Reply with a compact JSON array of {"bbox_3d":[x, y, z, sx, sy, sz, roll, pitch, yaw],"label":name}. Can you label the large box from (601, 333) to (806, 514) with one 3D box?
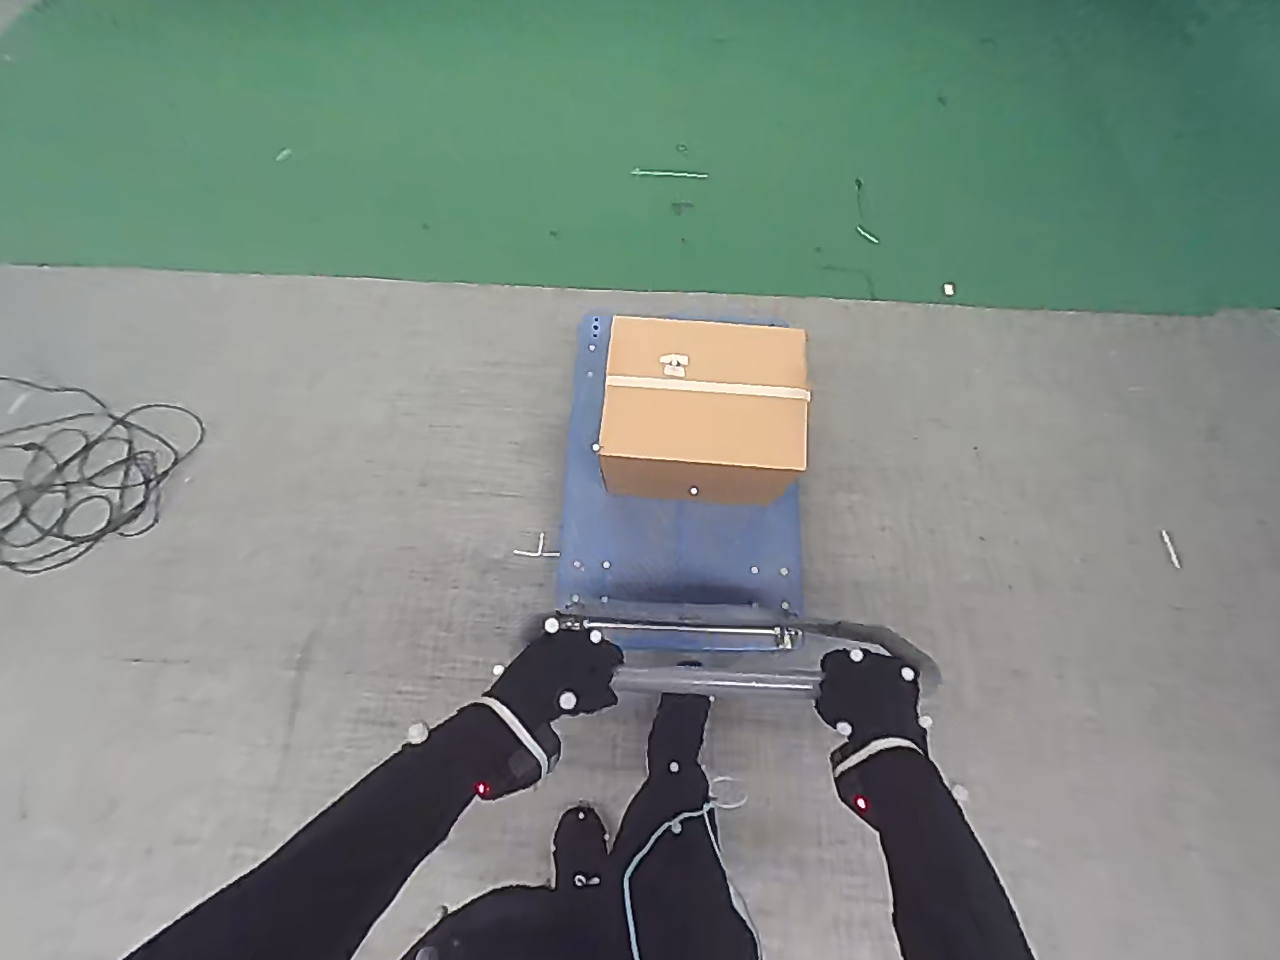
[{"bbox_3d":[0.137,-0.111,1.227,0.408,0.320,0.320,4,73,3],"label":"large box"}]
